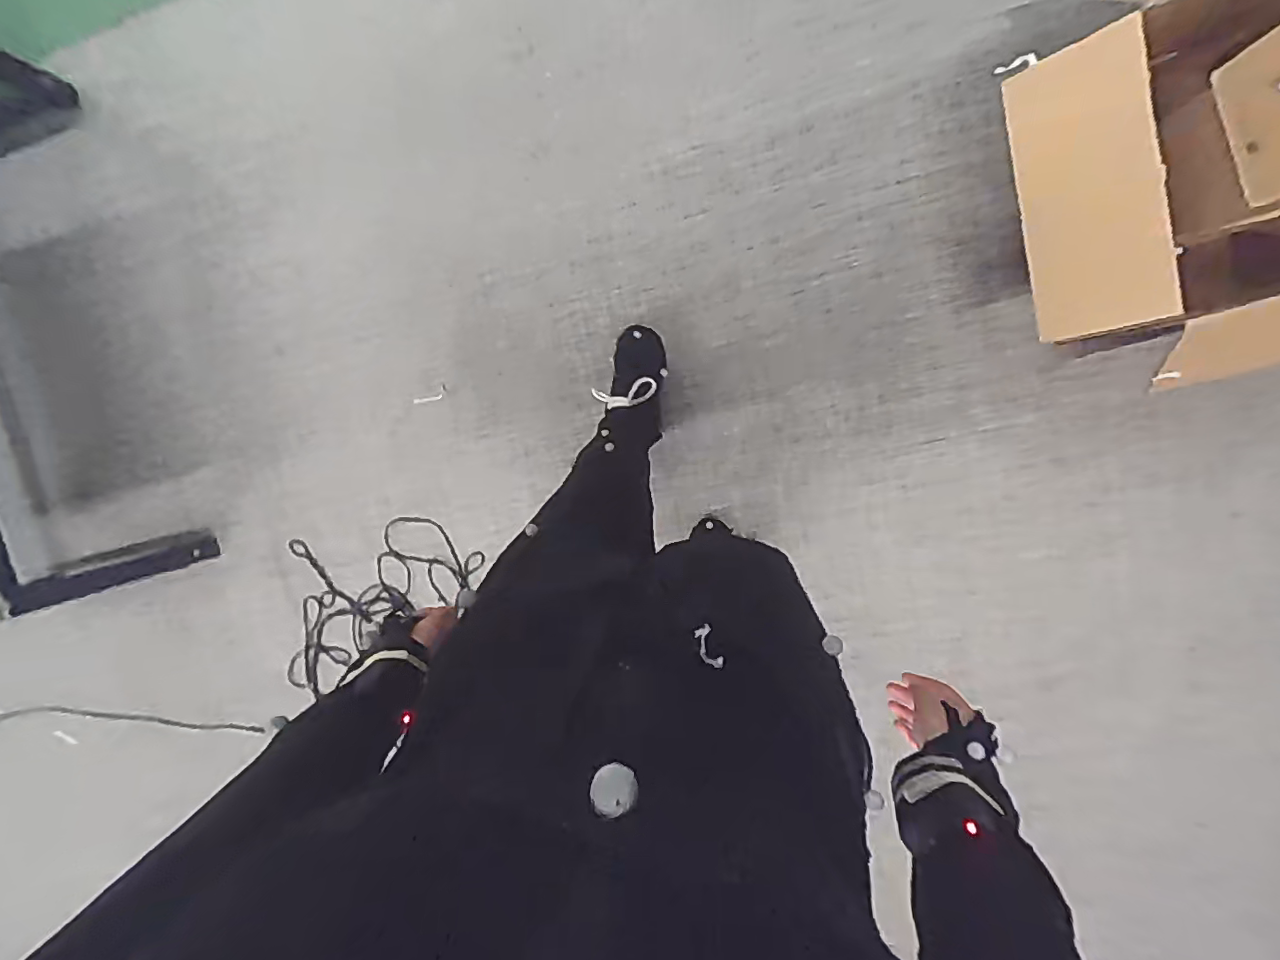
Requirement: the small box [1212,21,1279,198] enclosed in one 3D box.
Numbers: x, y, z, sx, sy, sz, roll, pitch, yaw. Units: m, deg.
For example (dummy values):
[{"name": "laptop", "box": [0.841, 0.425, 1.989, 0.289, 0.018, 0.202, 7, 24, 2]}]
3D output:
[{"name": "small box", "box": [0.786, -0.442, 0.581, 0.179, 0.176, 0.168, -20, 92, 10]}]
